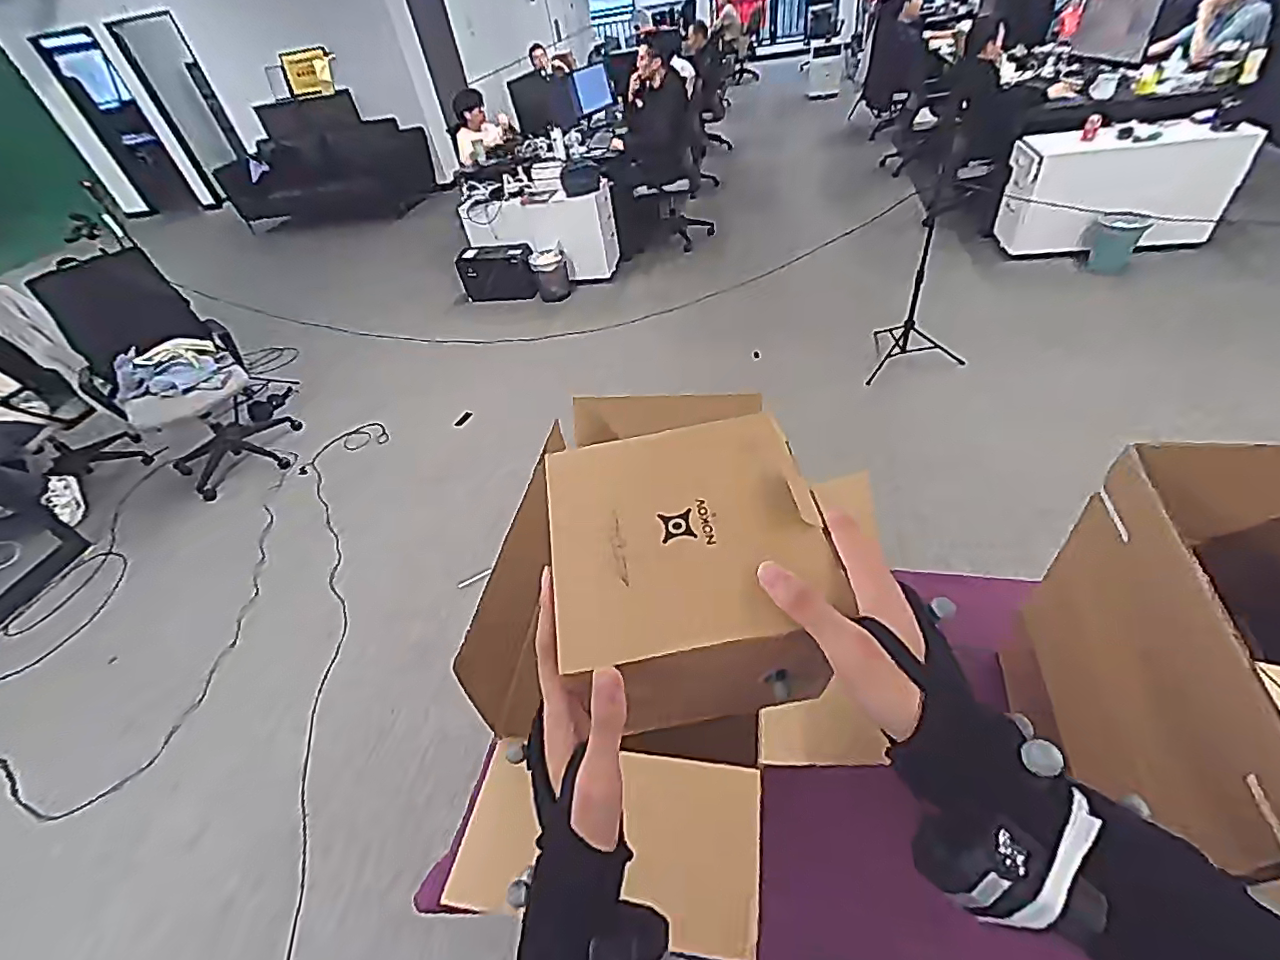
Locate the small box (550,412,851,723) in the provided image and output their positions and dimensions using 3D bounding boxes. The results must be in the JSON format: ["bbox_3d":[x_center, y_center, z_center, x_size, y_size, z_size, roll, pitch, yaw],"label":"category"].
[{"bbox_3d":[0.037,0.075,0.425,0.179,0.176,0.168,-11,52,1],"label":"small box"}]
